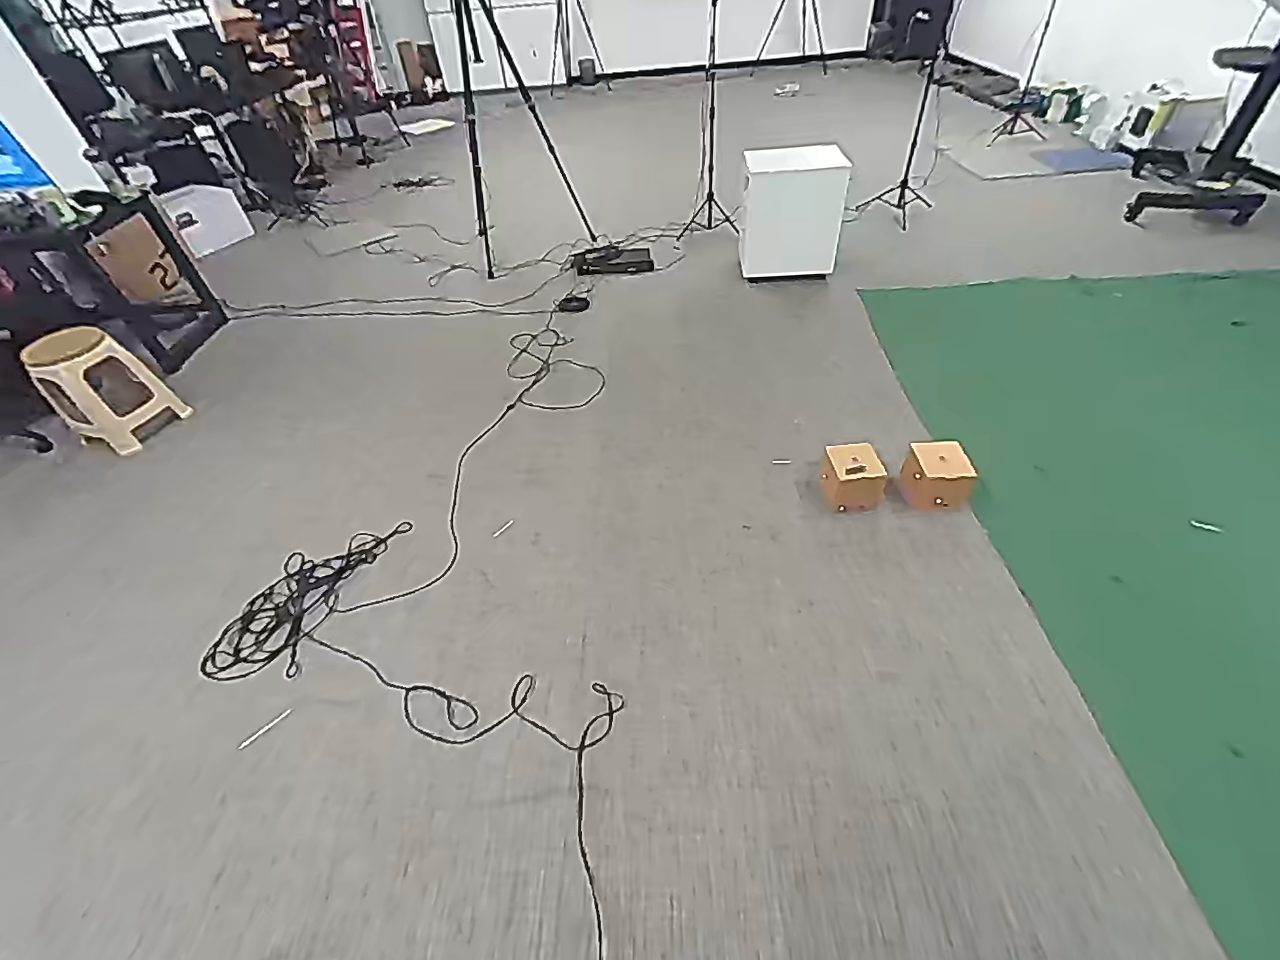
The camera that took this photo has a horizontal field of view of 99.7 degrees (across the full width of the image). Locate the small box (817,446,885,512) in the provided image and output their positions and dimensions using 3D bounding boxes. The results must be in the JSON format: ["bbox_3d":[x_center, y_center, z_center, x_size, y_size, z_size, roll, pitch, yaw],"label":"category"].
[{"bbox_3d":[0.746,0.003,1.932,0.168,0.176,0.179,-5,44,0],"label":"small box"}]

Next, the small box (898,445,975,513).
[{"bbox_3d":[1.038,-0.003,1.914,0.168,0.176,0.179,-3,45,3],"label":"small box"}]
